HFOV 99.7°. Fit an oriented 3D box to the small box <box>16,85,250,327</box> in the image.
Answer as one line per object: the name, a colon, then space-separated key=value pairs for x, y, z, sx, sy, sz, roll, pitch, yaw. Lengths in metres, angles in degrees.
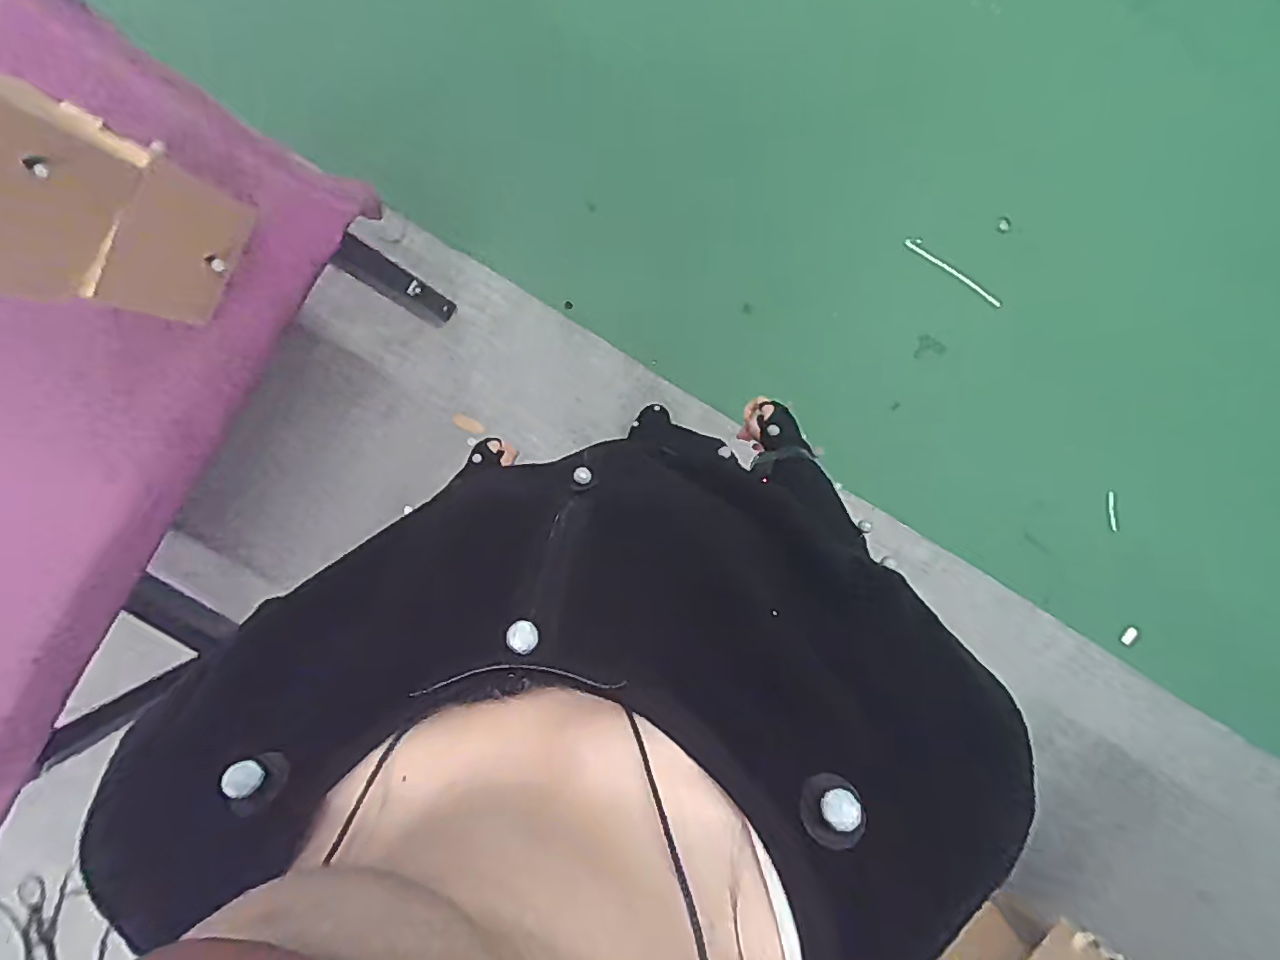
small box: x=-0.630 y=-0.314 z=0.662 sx=0.168 sy=0.176 sz=0.179 roll=28 pitch=94 yaw=-3

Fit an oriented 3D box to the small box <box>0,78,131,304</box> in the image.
small box: x=-0.642 y=-0.294 z=0.499 sx=0.168 sy=0.176 sz=0.179 roll=34 pitch=95 yaw=-3
